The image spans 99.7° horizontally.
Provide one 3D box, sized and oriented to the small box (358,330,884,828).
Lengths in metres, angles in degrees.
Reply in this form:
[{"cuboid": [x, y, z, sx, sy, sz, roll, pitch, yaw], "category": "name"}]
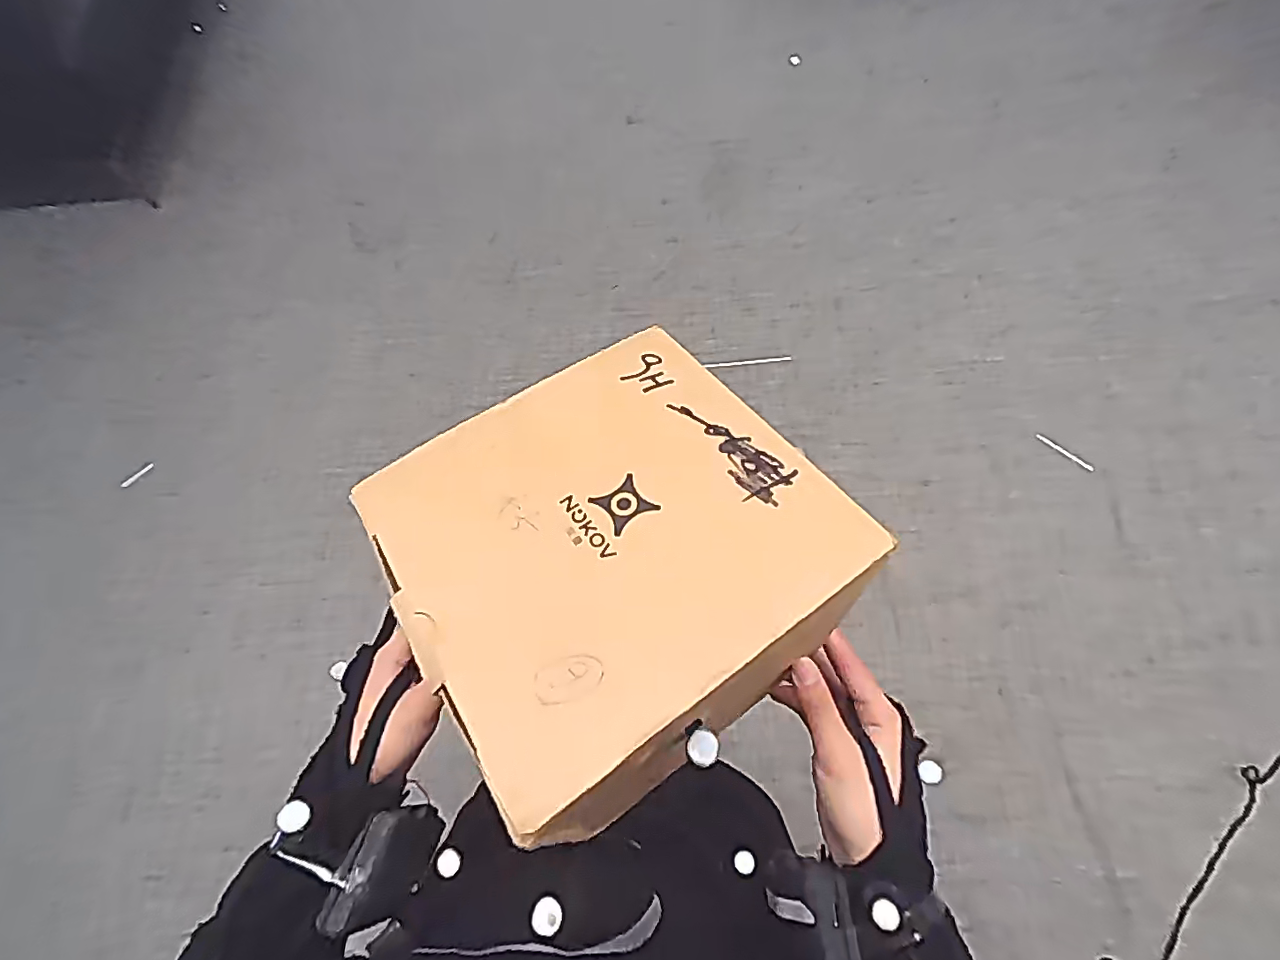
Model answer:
[{"cuboid": [-0.009, 0.060, 0.298, 0.179, 0.176, 0.168, -32, 60, -15], "category": "small box"}]
